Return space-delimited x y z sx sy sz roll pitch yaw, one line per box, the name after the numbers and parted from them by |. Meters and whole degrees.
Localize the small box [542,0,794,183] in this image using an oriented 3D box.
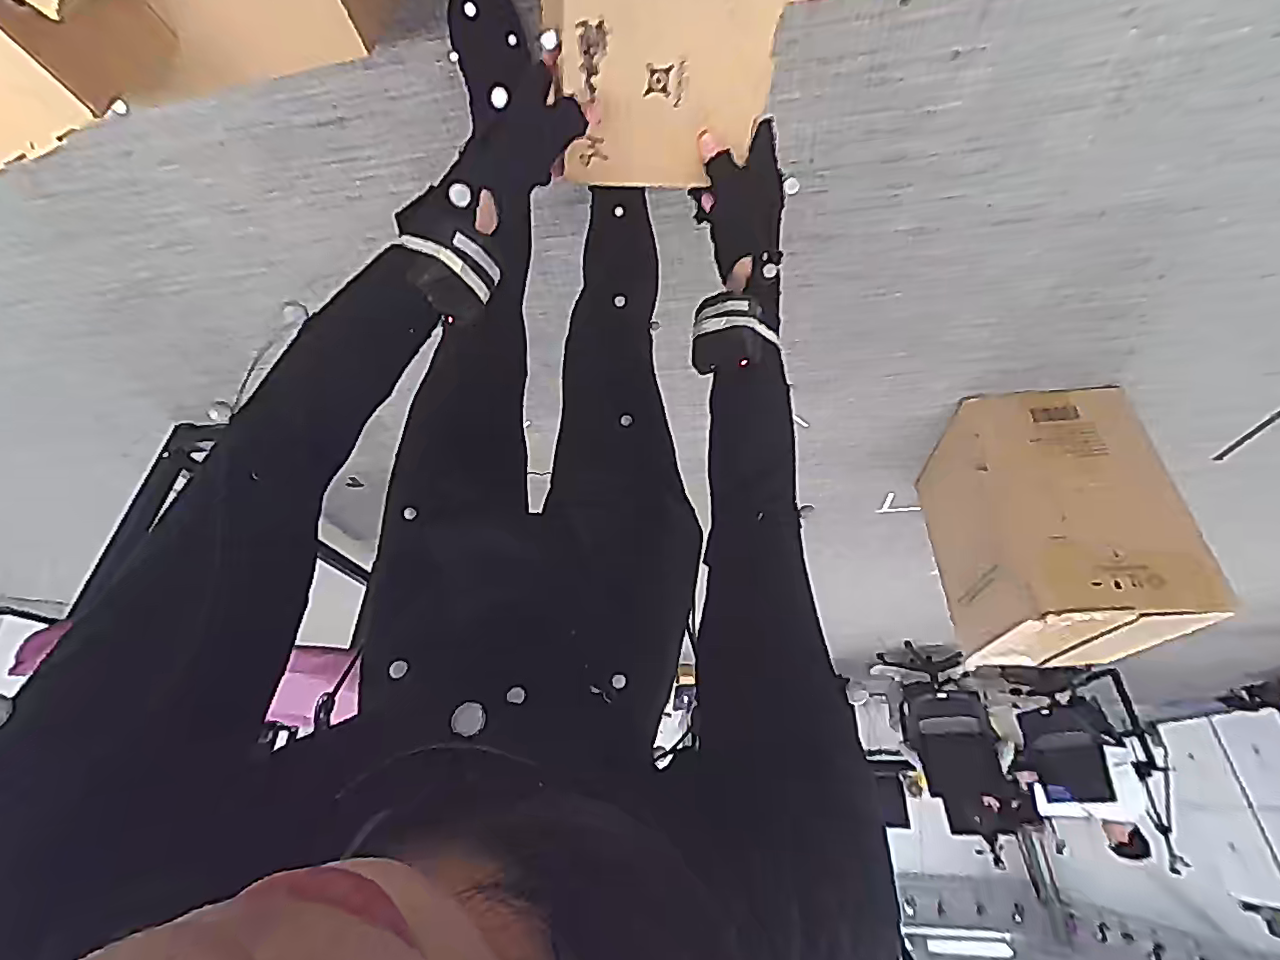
0.010 -0.392 0.485 0.179 0.176 0.168 -6 143 -14 | small box

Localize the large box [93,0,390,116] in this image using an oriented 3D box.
-0.504 -0.652 0.554 0.408 0.320 0.320 -6 150 10 | large box

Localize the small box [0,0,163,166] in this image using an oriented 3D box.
-0.586 -0.420 0.472 0.168 0.176 0.179 -11 146 16 | small box
